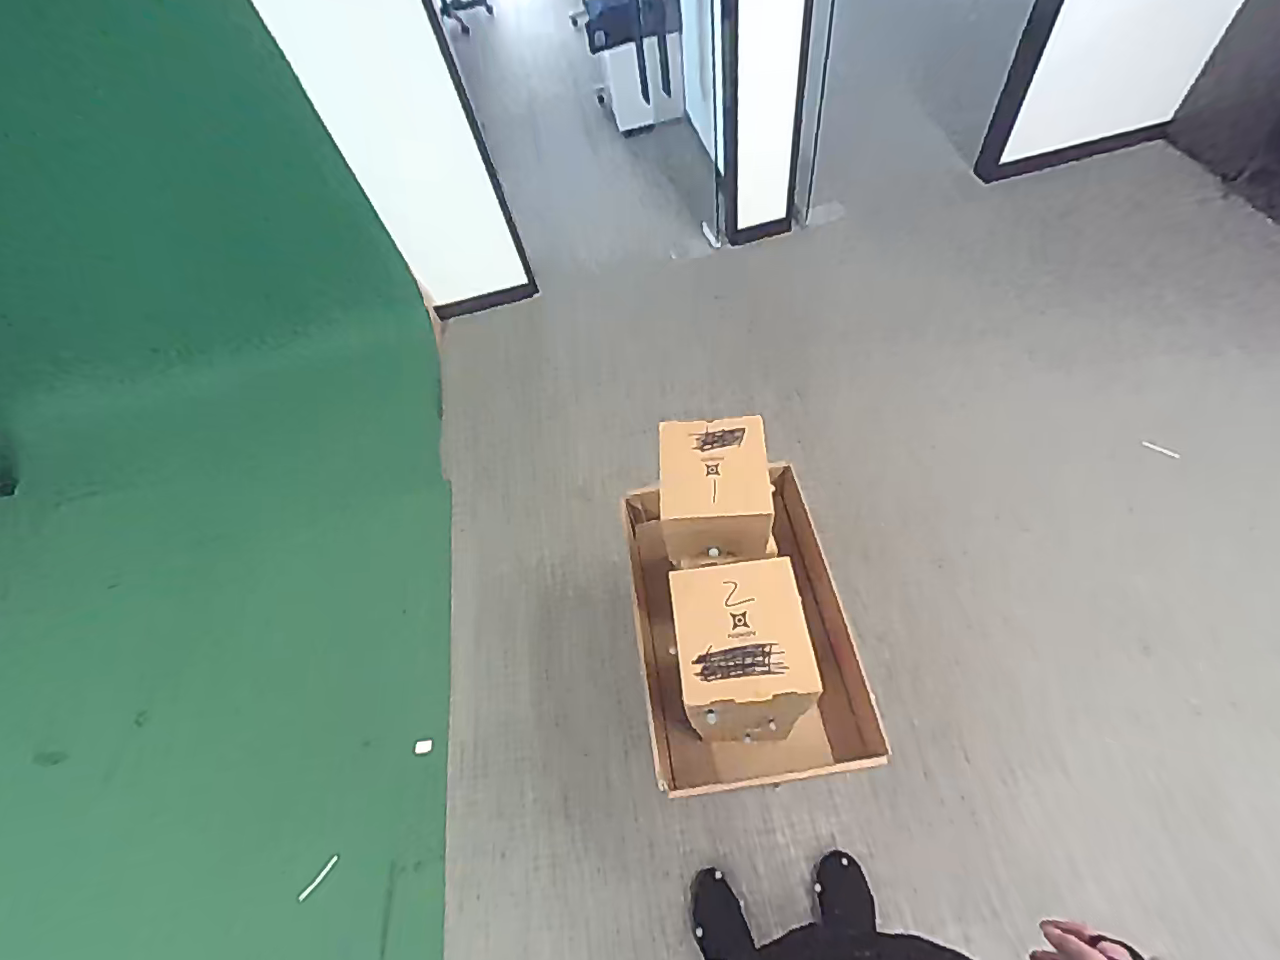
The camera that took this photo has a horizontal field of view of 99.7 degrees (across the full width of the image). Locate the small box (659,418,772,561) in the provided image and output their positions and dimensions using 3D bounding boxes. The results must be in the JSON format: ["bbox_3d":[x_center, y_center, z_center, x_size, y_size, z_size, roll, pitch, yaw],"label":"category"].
[{"bbox_3d":[0.120,0.020,0.890,0.168,0.176,0.179,-3,60,7],"label":"small box"}]

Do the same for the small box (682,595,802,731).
[{"bbox_3d":[0.163,0.308,0.891,0.168,0.176,0.179,-7,56,5],"label":"small box"}]

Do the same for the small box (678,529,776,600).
[{"bbox_3d":[0.148,0.107,1.026,0.168,0.176,0.179,-12,59,2],"label":"small box"}]
